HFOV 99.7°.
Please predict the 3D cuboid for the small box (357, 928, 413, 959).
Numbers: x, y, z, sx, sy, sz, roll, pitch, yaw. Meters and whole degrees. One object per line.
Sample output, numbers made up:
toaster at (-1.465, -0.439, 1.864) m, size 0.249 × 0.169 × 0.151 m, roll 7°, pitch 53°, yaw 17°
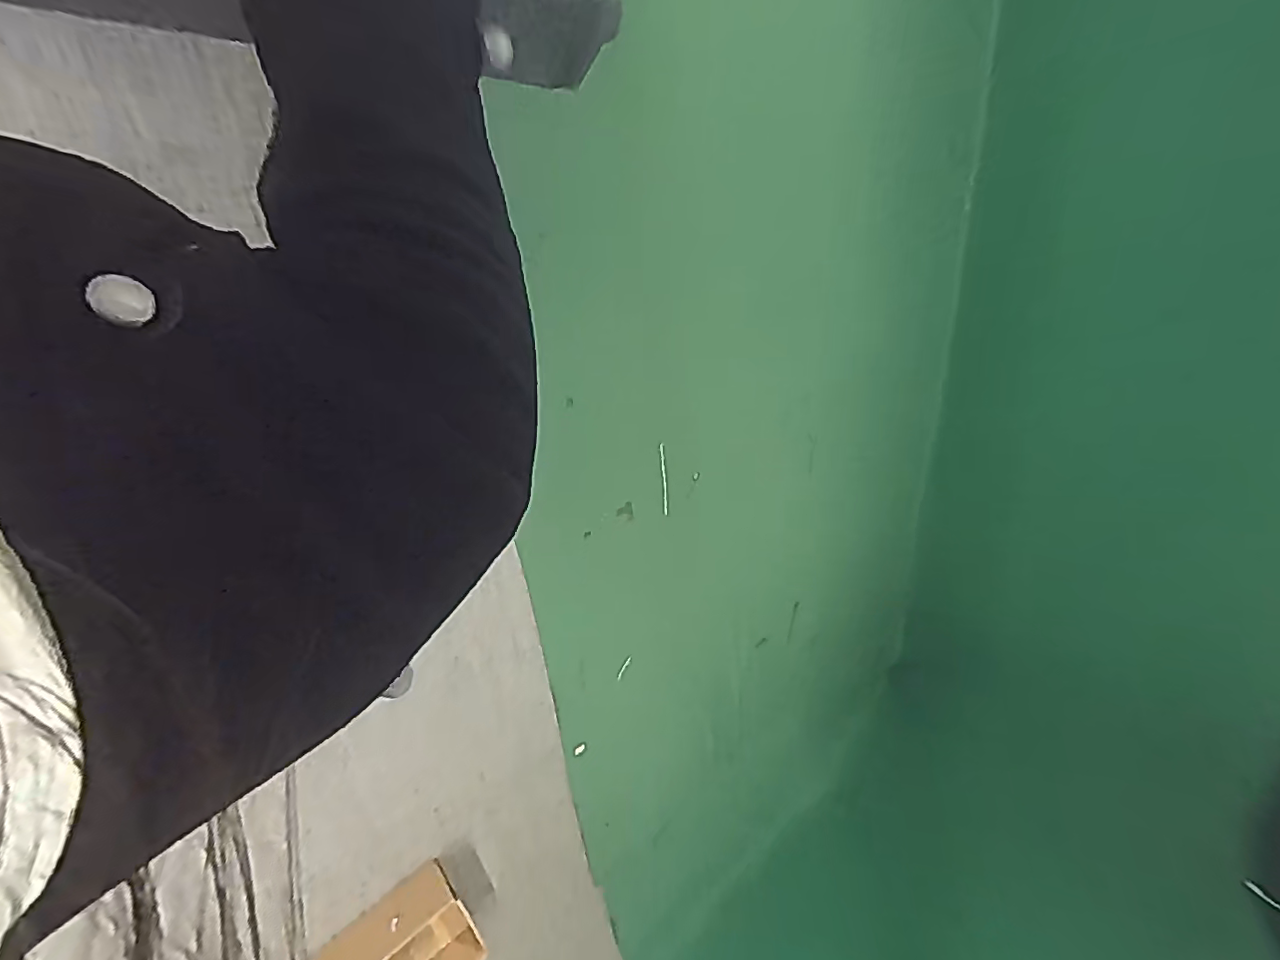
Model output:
small box at (-0.824, 1.622, 1.744) m, size 0.179 × 0.176 × 0.168 m, roll -30°, pitch 125°, yaw -34°
